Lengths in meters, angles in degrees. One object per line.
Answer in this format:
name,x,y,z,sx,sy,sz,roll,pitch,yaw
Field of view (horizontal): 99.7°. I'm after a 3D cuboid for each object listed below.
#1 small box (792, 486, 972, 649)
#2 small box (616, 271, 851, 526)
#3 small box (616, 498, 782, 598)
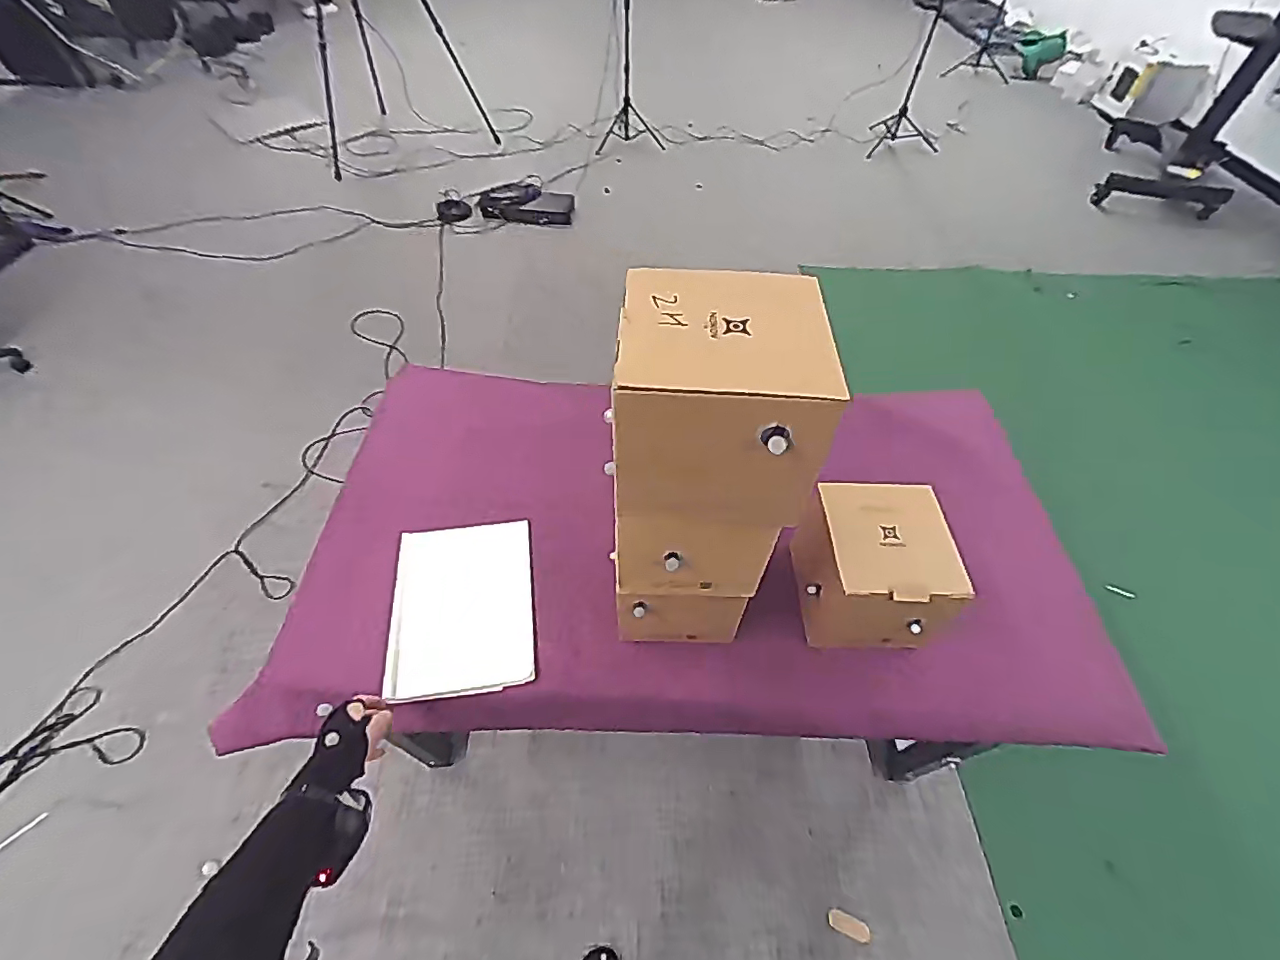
small box,0.328,0.129,0.775,0.168,0.176,0.179,2,51,-1
small box,0.072,-0.071,0.507,0.179,0.176,0.168,3,51,2
small box,0.061,0.026,0.640,0.168,0.176,0.179,2,51,0
